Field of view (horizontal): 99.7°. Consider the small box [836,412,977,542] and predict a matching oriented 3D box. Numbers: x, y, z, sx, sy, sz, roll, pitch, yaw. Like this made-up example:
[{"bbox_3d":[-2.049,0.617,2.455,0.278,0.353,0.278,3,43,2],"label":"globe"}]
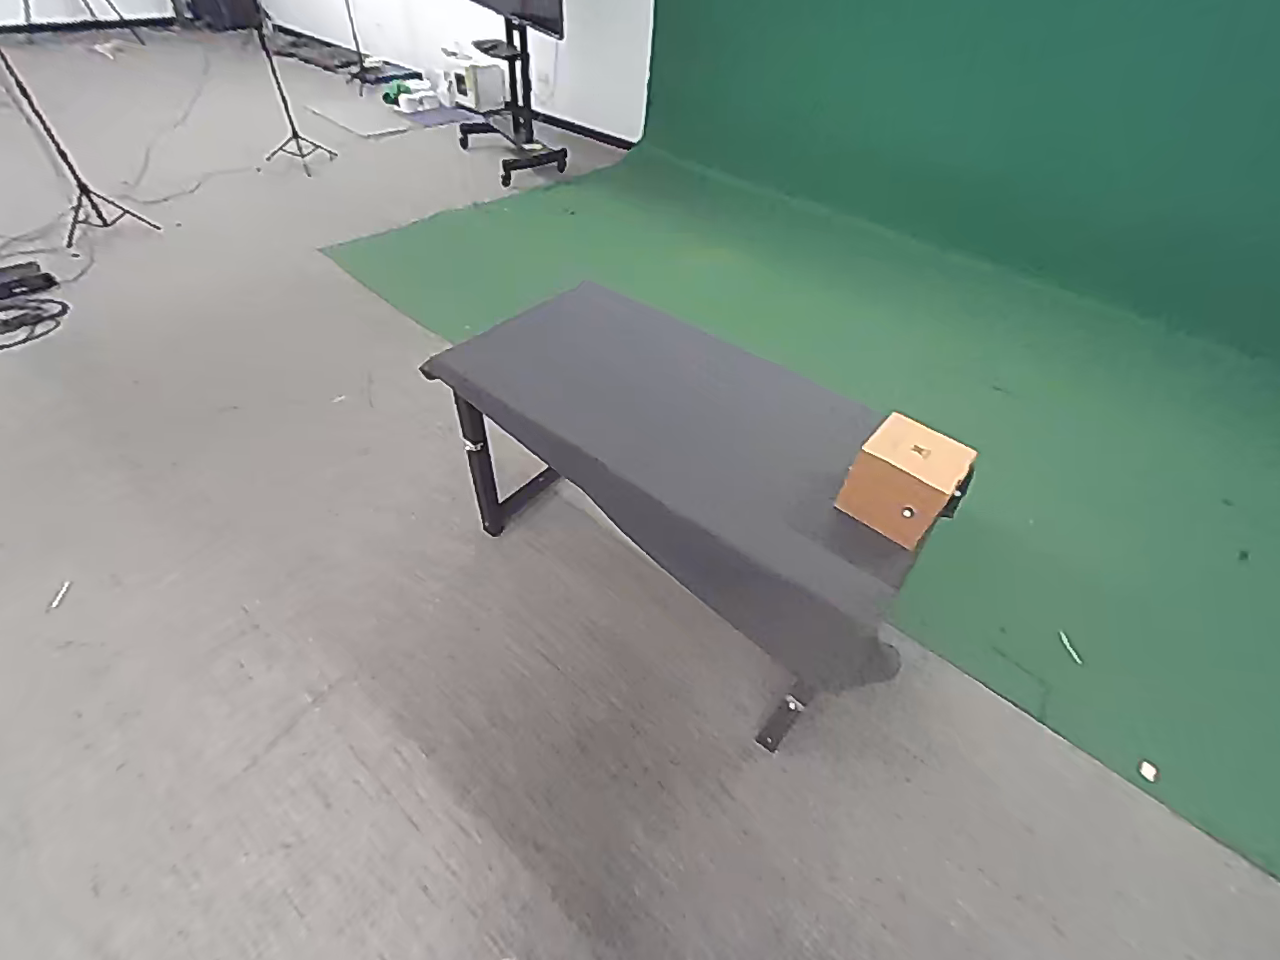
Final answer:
[{"bbox_3d":[0.530,-0.001,1.090,0.179,0.176,0.168,33,51,25],"label":"small box"}]
